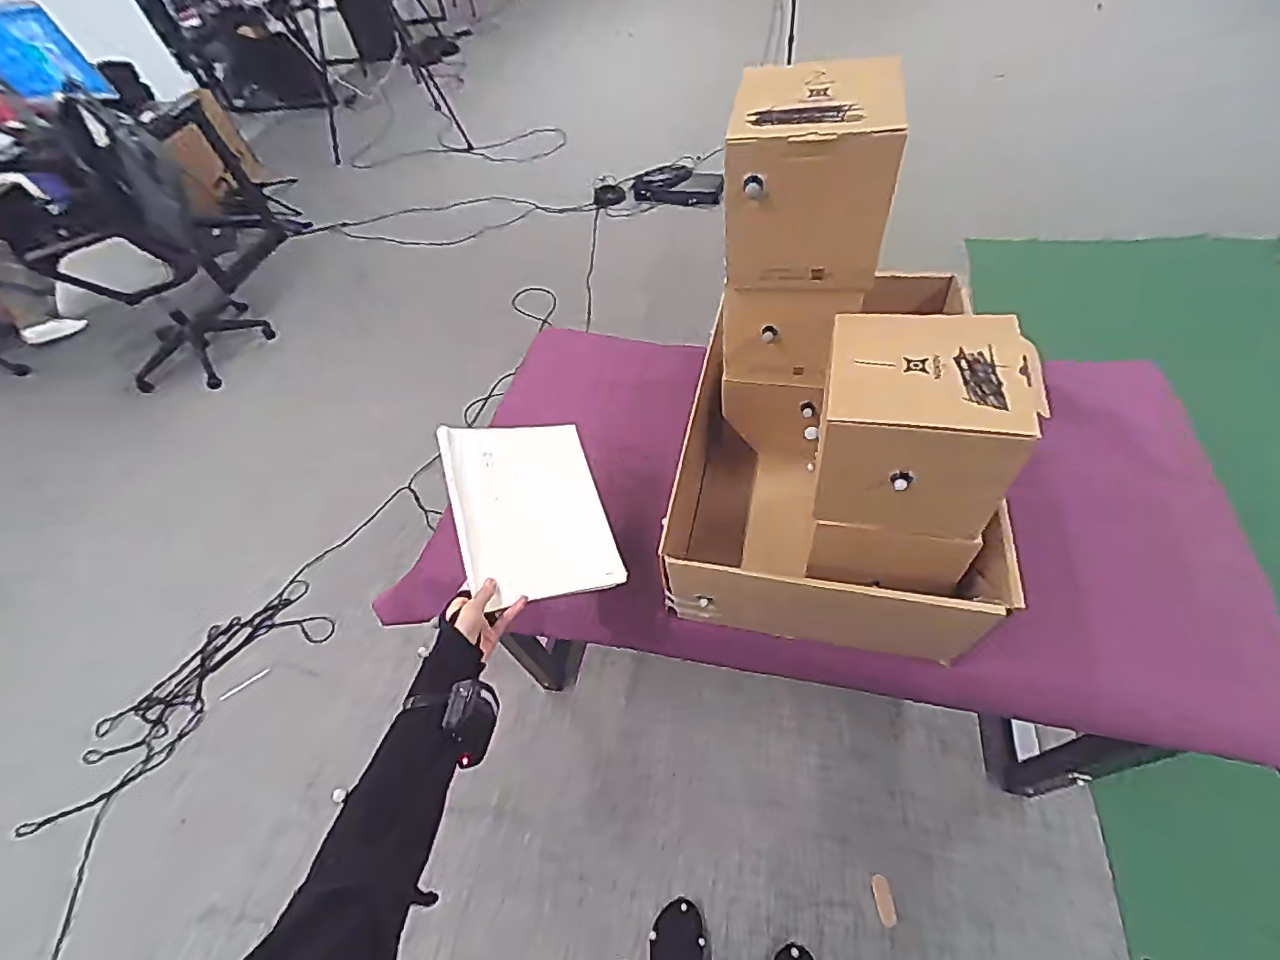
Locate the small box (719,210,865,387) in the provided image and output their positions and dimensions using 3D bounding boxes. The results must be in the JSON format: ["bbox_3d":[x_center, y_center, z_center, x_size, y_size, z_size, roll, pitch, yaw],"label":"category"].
[{"bbox_3d":[0.210,-0.249,0.755,0.168,0.176,0.179,8,56,15],"label":"small box"}]

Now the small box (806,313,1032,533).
[{"bbox_3d":[0.284,-0.059,0.588,0.179,0.176,0.168,6,53,17],"label":"small box"}]
